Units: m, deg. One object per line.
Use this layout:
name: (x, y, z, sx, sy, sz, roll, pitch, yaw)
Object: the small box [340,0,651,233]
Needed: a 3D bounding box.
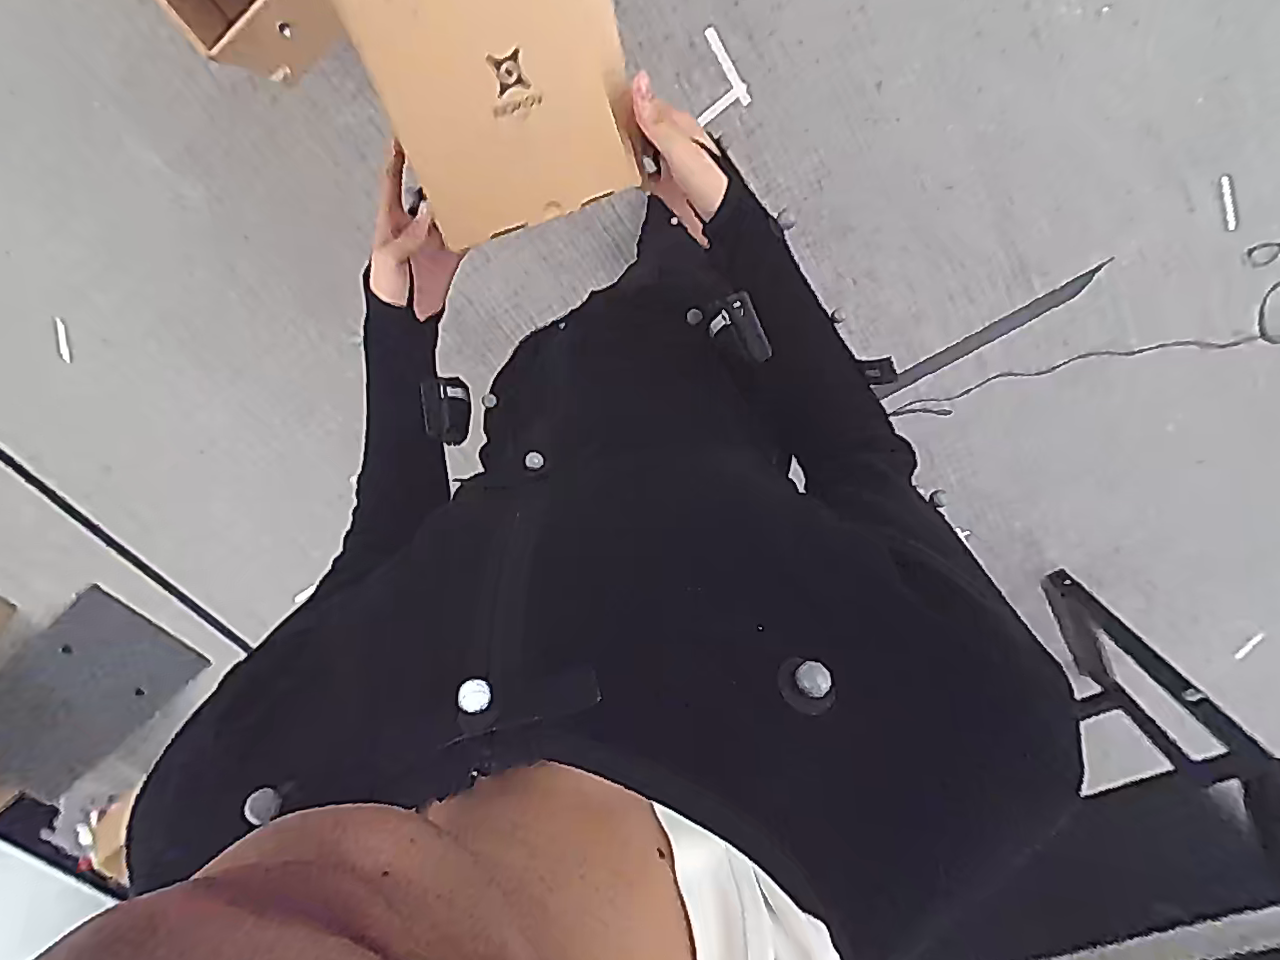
small box: (-0.114, -0.317, 0.415, 0.168, 0.176, 0.179, -25, 131, -9)
